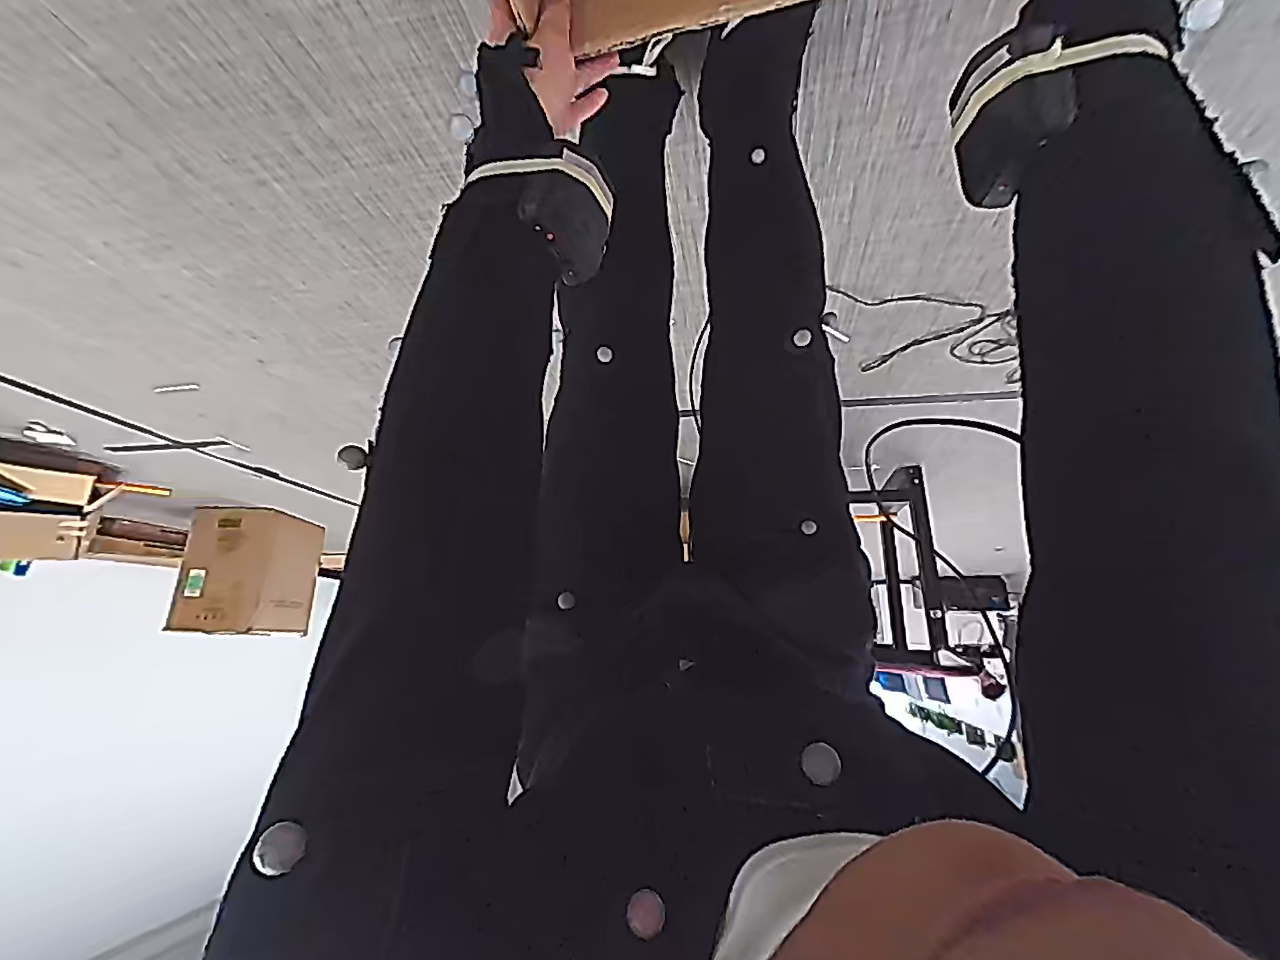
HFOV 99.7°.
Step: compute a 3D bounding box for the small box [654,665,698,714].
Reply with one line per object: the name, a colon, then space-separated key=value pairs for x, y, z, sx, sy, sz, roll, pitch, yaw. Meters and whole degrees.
small box: x=0.147 y=0.835 z=2.167 sx=0.168 sy=0.176 sz=0.179 roll=-2 pitch=163 yaw=7
